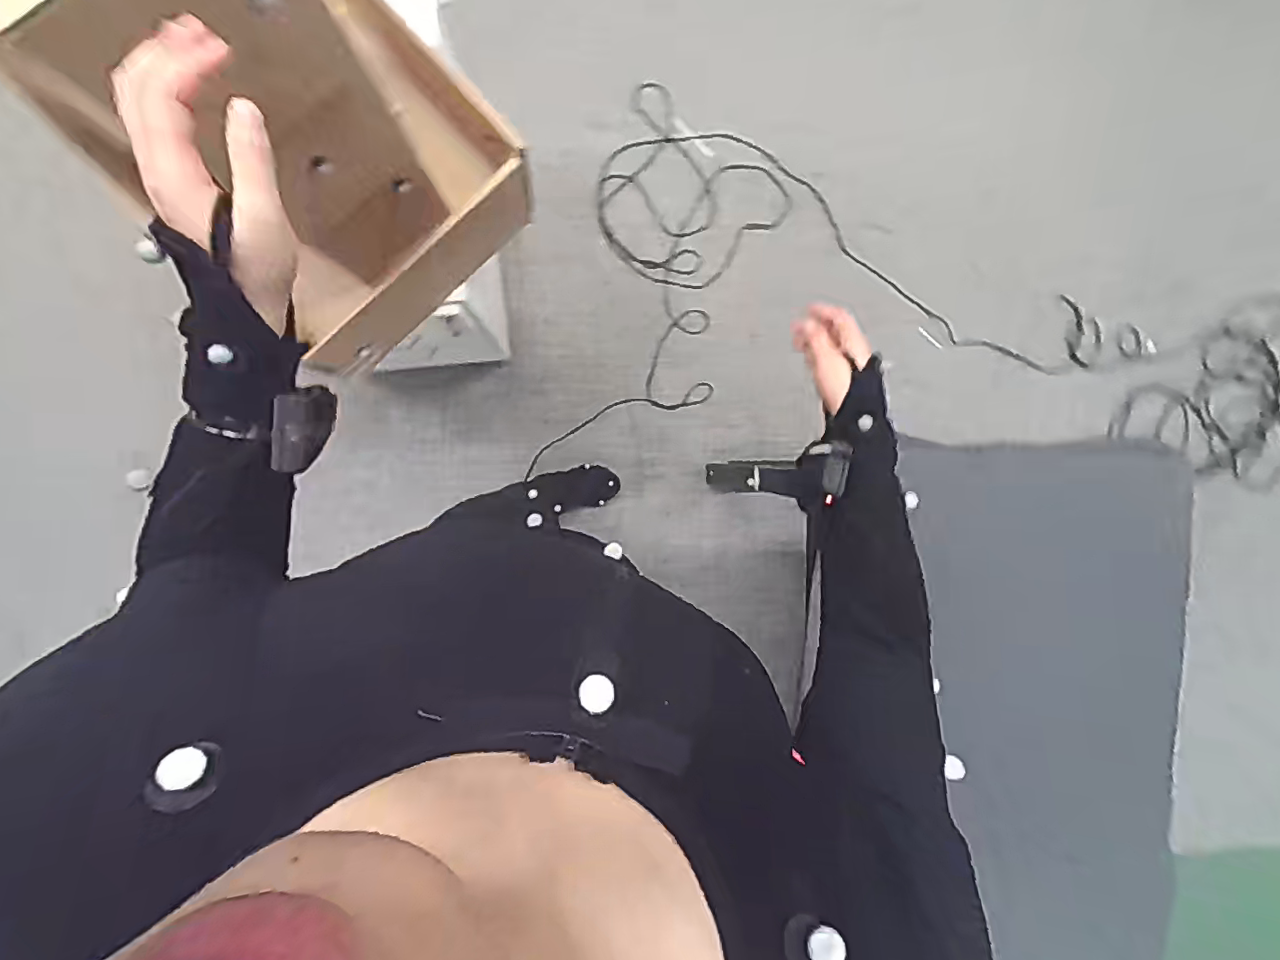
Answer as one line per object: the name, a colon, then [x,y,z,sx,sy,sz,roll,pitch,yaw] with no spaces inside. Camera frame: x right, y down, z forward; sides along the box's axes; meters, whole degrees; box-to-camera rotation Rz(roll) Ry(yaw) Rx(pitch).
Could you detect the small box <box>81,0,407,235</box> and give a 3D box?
small box: [-0.367,-0.392,0.548,0.179,0.176,0.168,-42,94,-1]
